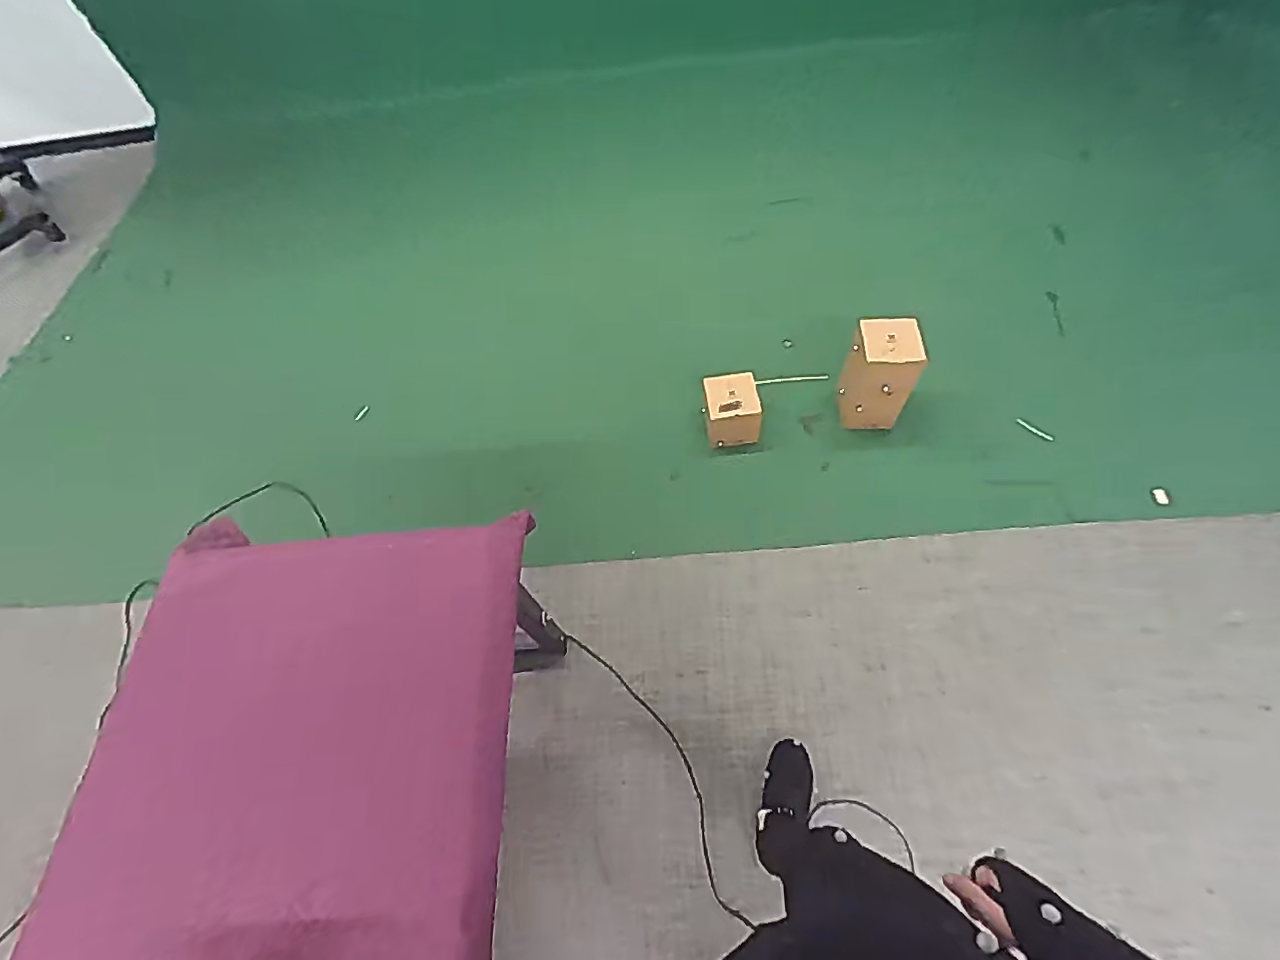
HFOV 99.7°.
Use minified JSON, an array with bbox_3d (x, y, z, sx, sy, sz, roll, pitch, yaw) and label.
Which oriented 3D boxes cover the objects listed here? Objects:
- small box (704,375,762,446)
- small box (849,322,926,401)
[{"bbox_3d":[0.311,-0.228,1.831,0.168,0.176,0.179,-7,59,2],"label":"small box"},{"bbox_3d":[0.755,-0.366,1.670,0.168,0.176,0.179,1,60,7],"label":"small box"}]
